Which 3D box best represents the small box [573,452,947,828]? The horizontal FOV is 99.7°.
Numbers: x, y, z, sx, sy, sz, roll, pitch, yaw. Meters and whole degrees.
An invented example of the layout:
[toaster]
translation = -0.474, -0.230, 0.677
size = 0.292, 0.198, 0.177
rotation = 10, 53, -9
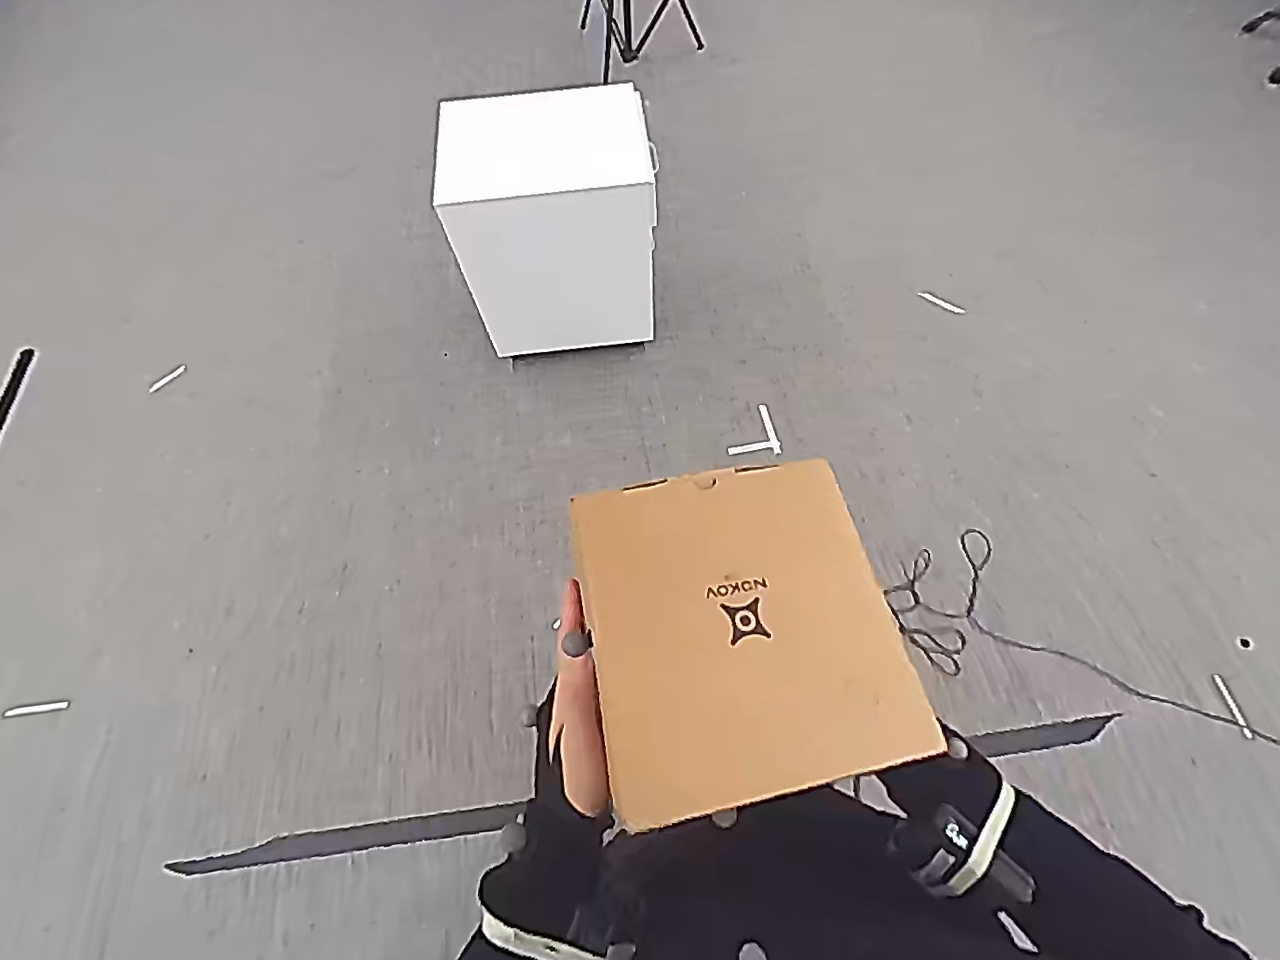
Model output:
[small box]
translation = 0.052, 0.107, 0.363
size = 0.168, 0.176, 0.179
rotation = -9, 62, -10
